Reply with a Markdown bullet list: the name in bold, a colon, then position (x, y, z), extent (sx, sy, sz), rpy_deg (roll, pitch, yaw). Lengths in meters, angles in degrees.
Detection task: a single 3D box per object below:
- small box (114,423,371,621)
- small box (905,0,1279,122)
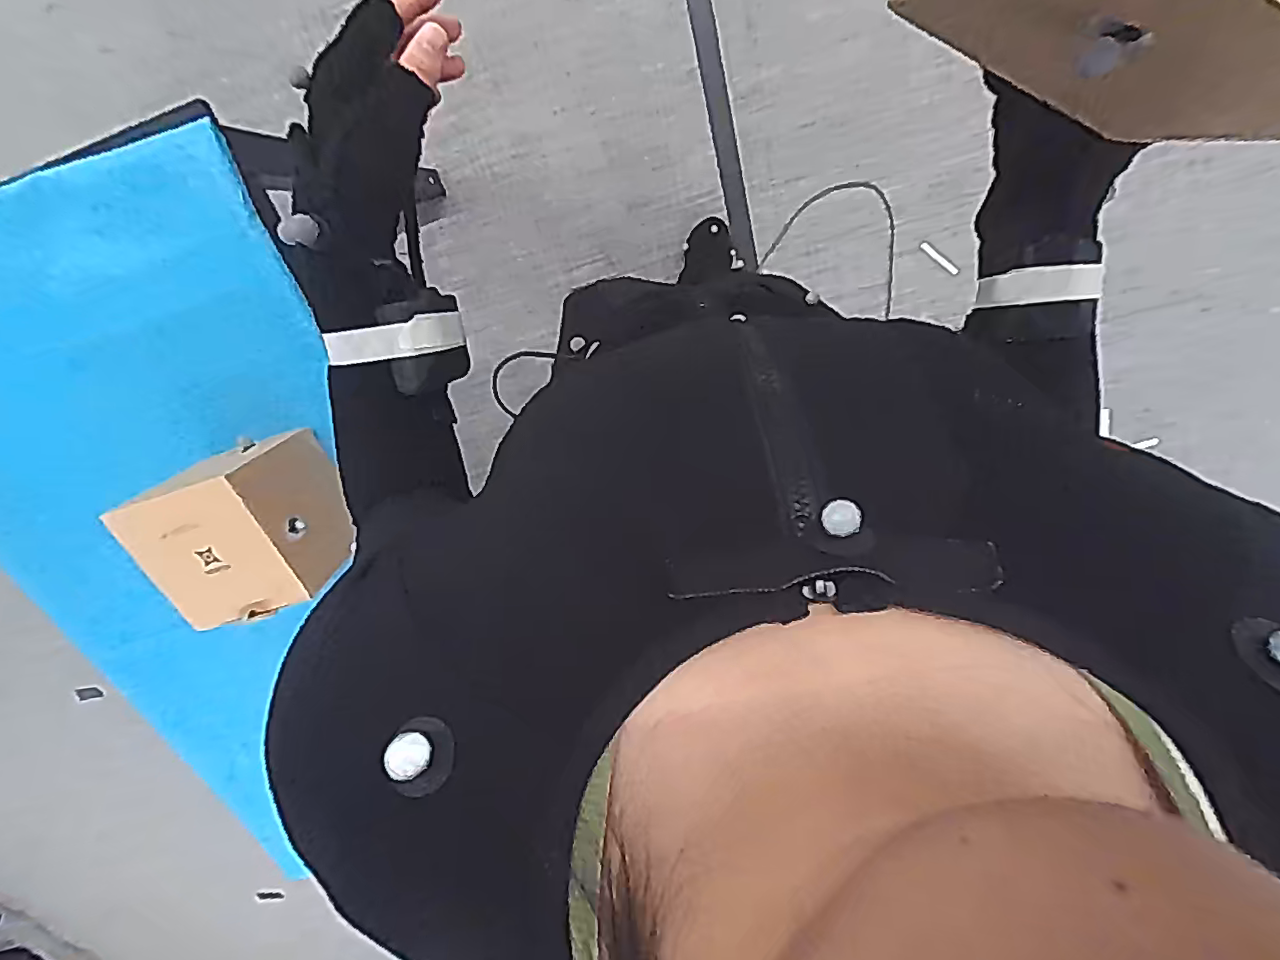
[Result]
- **small box**: position (-0.492, 0.049, 0.706), extent (0.168, 0.176, 0.179), rpy_deg (-15, 114, 8)
- **small box**: position (0.244, -0.259, 0.207), extent (0.179, 0.176, 0.168), rpy_deg (16, 120, -10)
